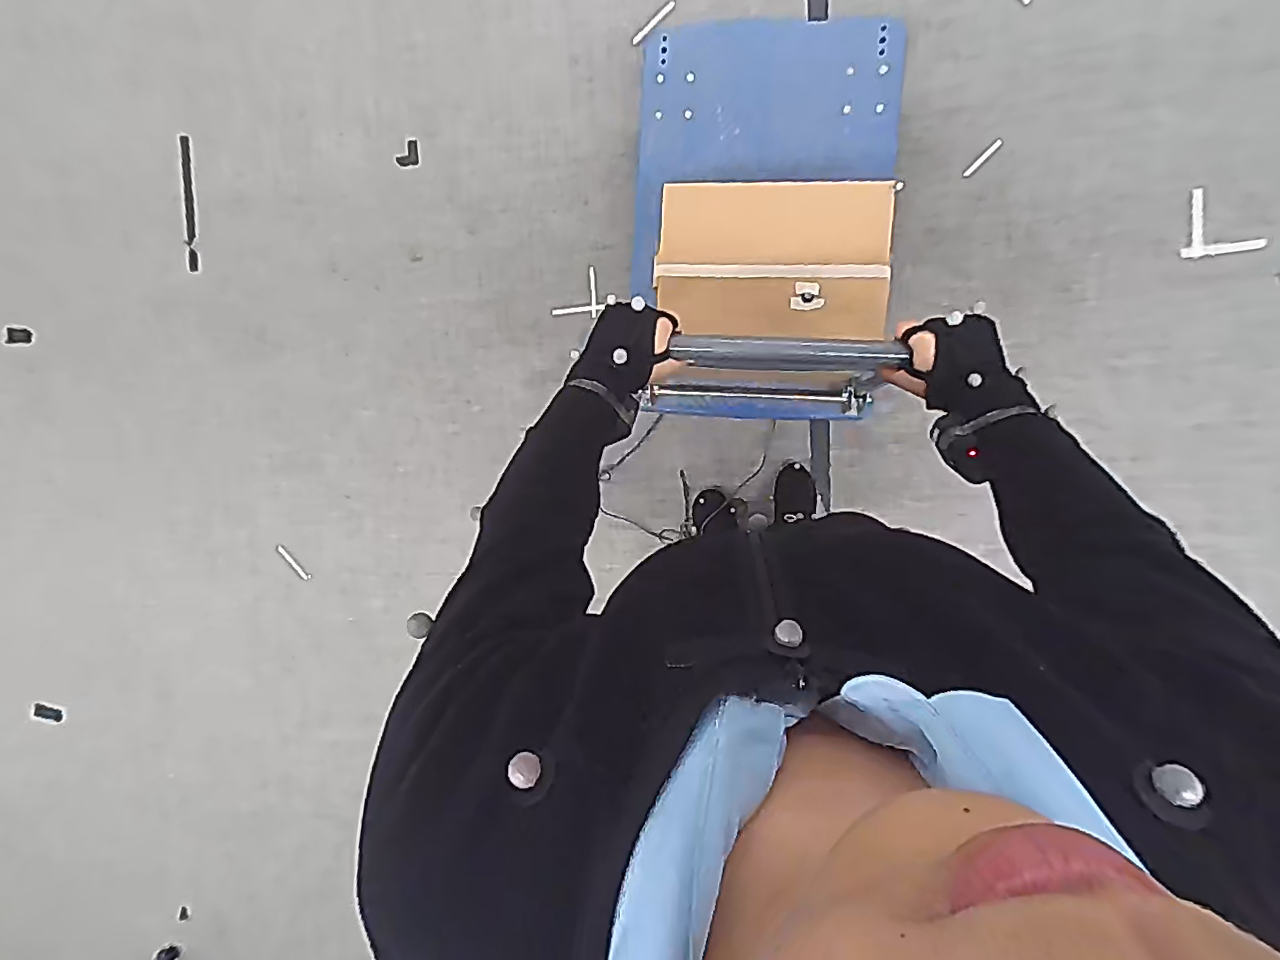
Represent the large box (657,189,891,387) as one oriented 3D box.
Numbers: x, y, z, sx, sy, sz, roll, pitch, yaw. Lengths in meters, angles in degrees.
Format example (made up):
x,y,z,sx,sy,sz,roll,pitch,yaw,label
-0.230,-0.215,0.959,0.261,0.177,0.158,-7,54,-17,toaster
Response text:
x,y,z,sx,sy,sz,roll,pitch,yaw,label
0.248,-0.366,1.112,0.408,0.320,0.320,3,94,7,large box
